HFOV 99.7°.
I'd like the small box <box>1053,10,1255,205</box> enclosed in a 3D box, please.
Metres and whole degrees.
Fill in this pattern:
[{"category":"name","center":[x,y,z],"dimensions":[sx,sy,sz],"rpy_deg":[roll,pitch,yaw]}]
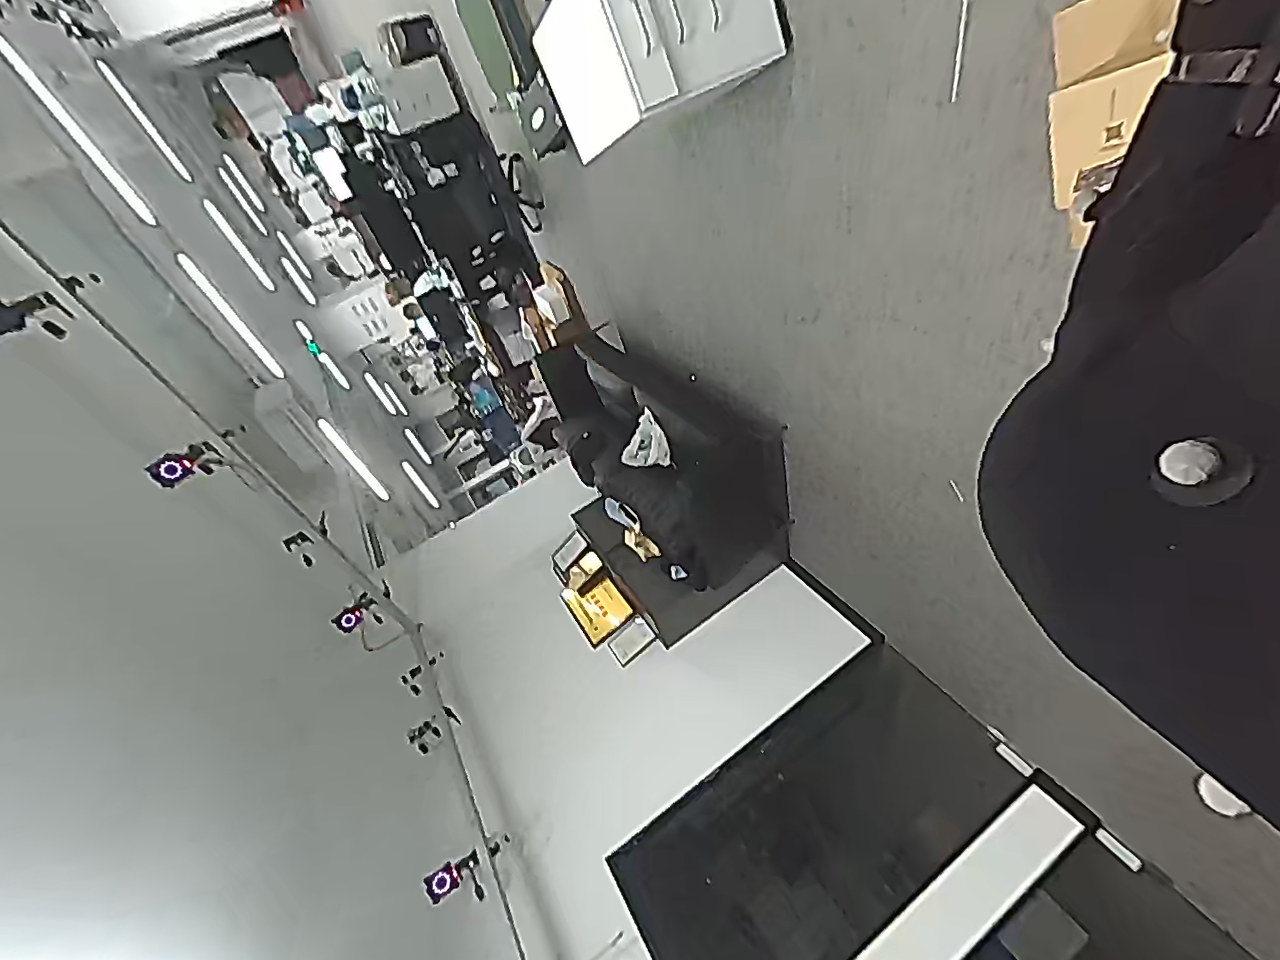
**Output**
[{"category":"small box","center":[0.771,-0.551,0.818],"dimensions":[0.168,0.176,0.179],"rpy_deg":[30,149,61]}]
